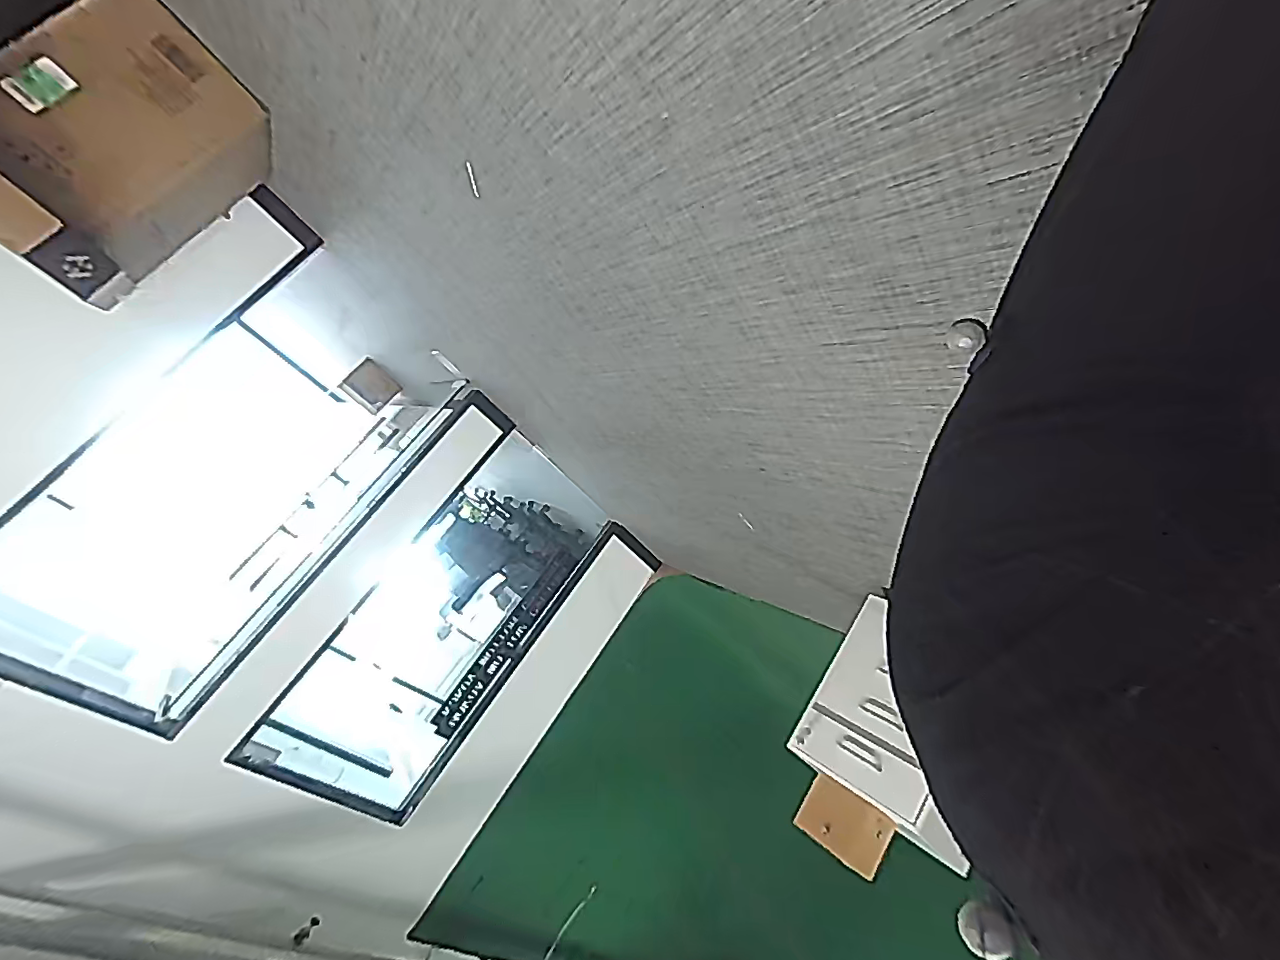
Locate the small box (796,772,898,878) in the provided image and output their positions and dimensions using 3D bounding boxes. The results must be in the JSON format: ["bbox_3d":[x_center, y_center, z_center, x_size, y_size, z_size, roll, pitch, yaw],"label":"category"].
[{"bbox_3d":[0.583,0.957,1.519,0.168,0.176,0.179,45,162,-27],"label":"small box"}]
